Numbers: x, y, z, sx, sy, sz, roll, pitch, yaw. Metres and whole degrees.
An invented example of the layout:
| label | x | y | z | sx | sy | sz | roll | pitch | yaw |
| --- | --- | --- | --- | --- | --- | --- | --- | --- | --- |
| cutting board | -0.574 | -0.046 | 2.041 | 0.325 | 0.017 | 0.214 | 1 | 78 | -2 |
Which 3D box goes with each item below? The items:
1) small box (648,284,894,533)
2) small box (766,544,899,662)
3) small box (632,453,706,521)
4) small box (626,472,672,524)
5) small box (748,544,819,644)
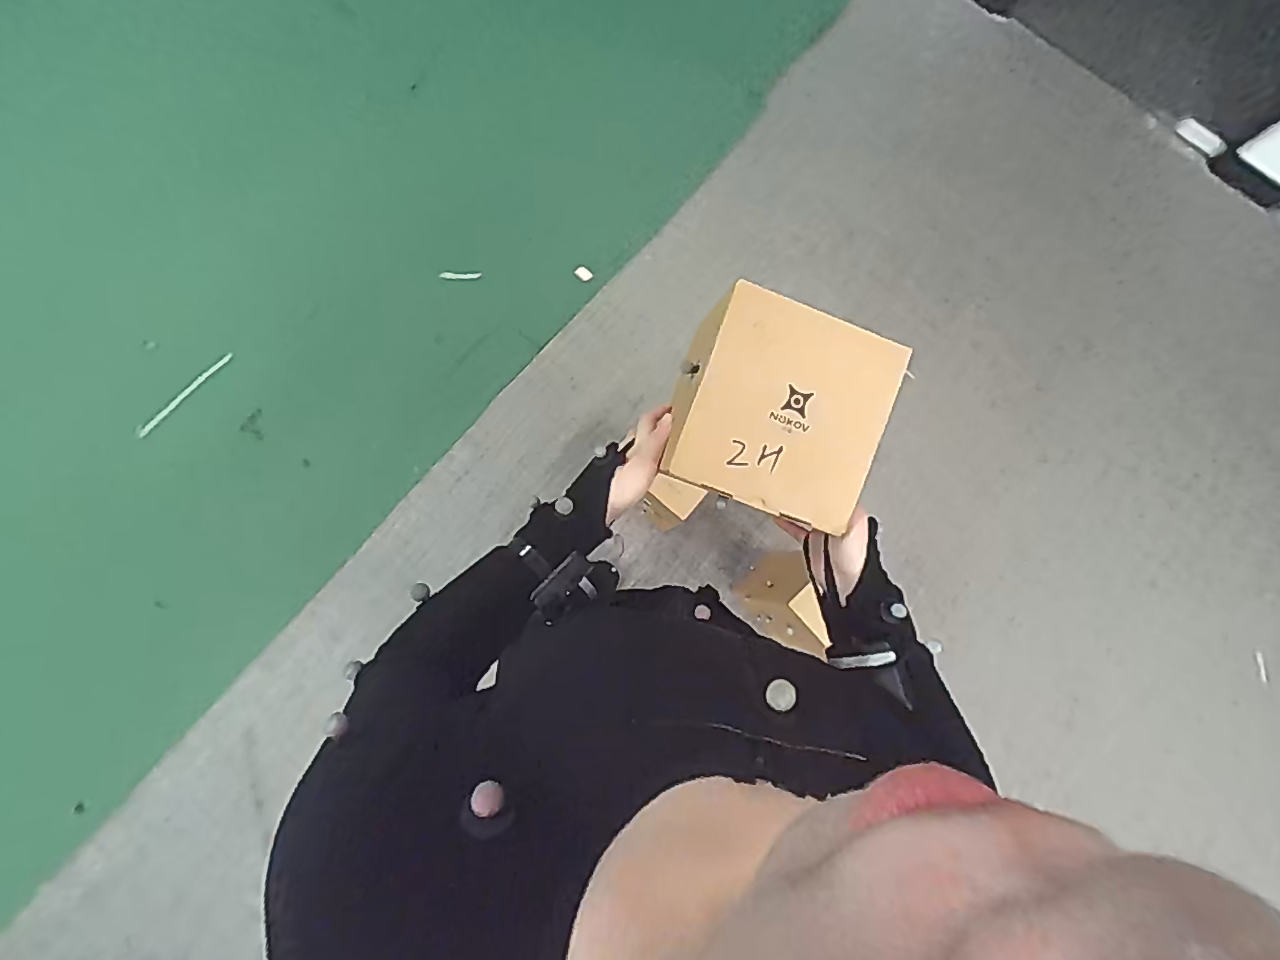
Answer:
| label | x | y | z | sx | sy | sz | roll | pitch | yaw |
| --- | --- | --- | --- | --- | --- | --- | --- | --- | --- |
| small box | 0.114 | -0.065 | 0.549 | 0.168 | 0.176 | 0.179 | 19 | 92 | -6 |
| small box | 0.398 | 0.253 | 1.152 | 0.179 | 0.176 | 0.168 | -41 | 86 | -8 |
| small box | 0.092 | -0.018 | 1.340 | 0.168 | 0.176 | 0.179 | 40 | 80 | 4 |
| small box | 0.077 | 0.007 | 1.500 | 0.168 | 0.176 | 0.179 | 44 | 80 | 3 |
| small box | 0.391 | 0.275 | 1.315 | 0.179 | 0.176 | 0.168 | -42 | 86 | -10 |
